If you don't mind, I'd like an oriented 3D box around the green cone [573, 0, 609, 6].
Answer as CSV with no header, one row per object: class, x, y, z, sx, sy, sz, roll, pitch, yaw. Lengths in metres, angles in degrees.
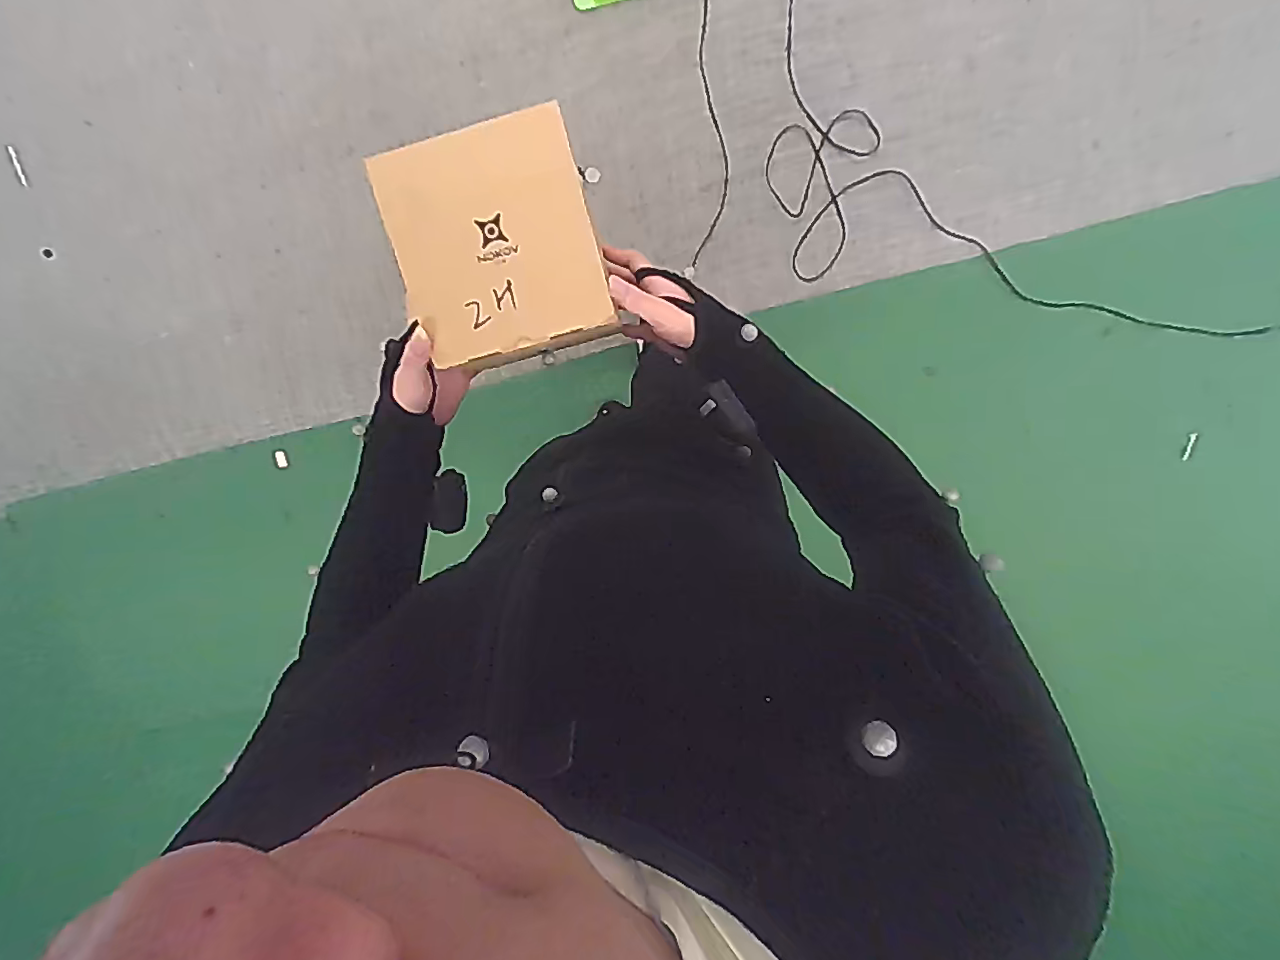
green cone,-0.094,-1.293,1.200,0.202,0.368,0.200,-13,101,2
